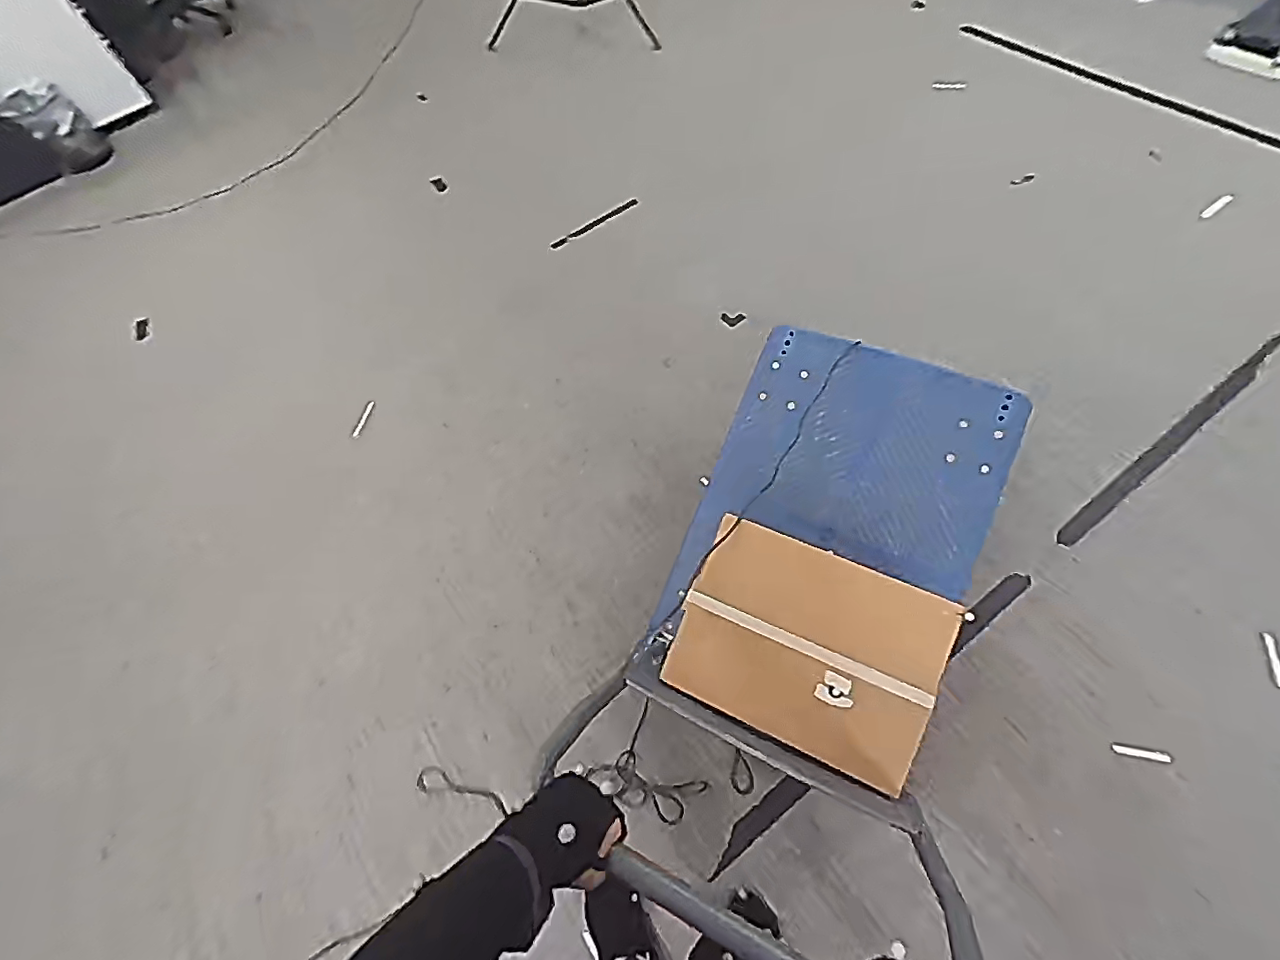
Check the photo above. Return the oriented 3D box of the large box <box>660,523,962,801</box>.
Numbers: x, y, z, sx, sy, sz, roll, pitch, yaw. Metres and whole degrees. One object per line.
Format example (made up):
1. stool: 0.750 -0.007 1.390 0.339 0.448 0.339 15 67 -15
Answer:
1. large box: 0.296 0.304 1.017 0.408 0.320 0.320 21 86 16
